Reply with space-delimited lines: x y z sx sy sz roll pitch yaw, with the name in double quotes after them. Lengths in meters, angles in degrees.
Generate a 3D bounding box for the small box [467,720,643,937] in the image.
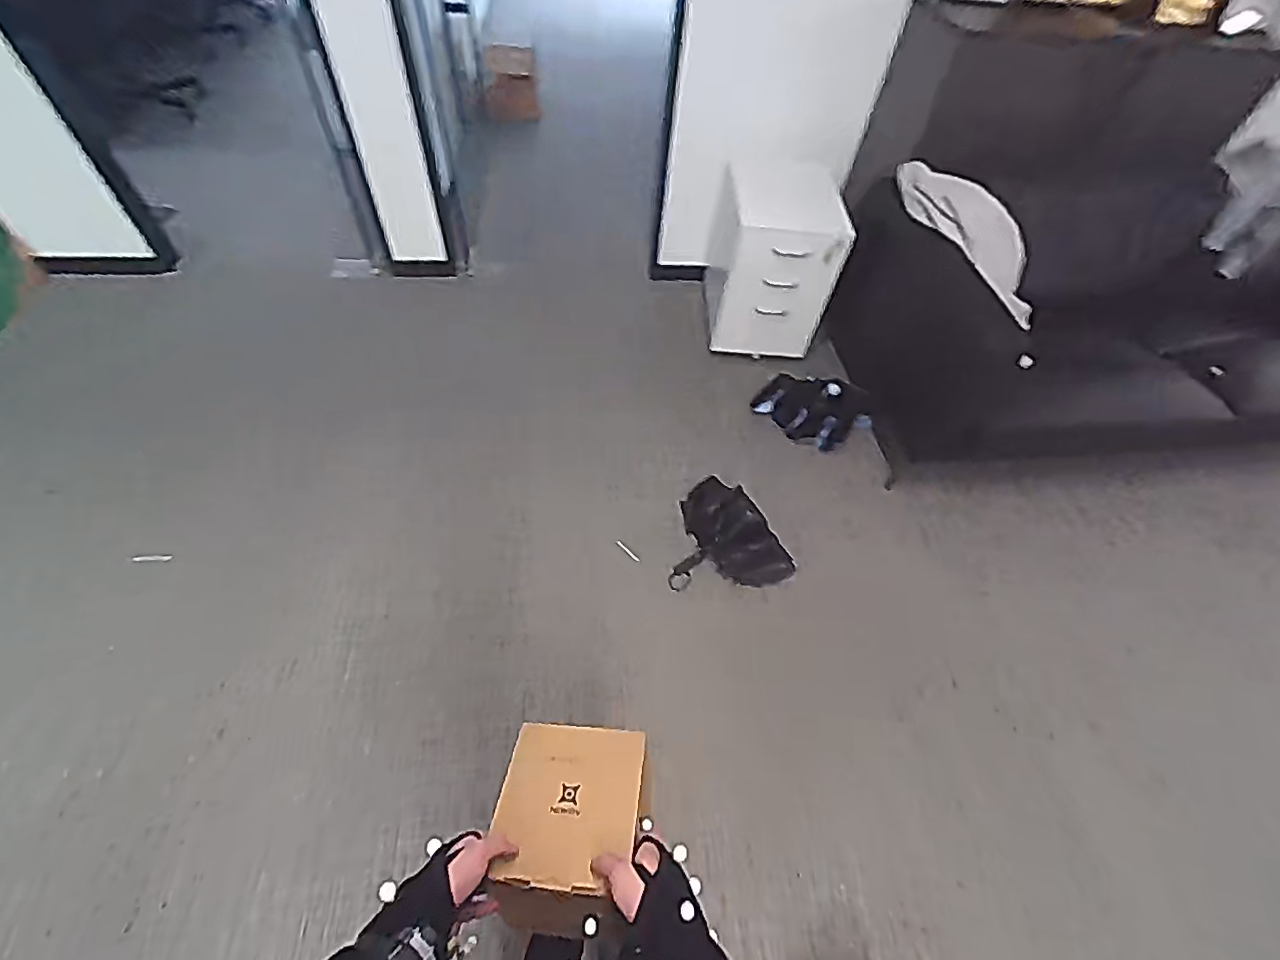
-0.088 0.430 0.673 0.168 0.176 0.179 1 34 7 "small box"
